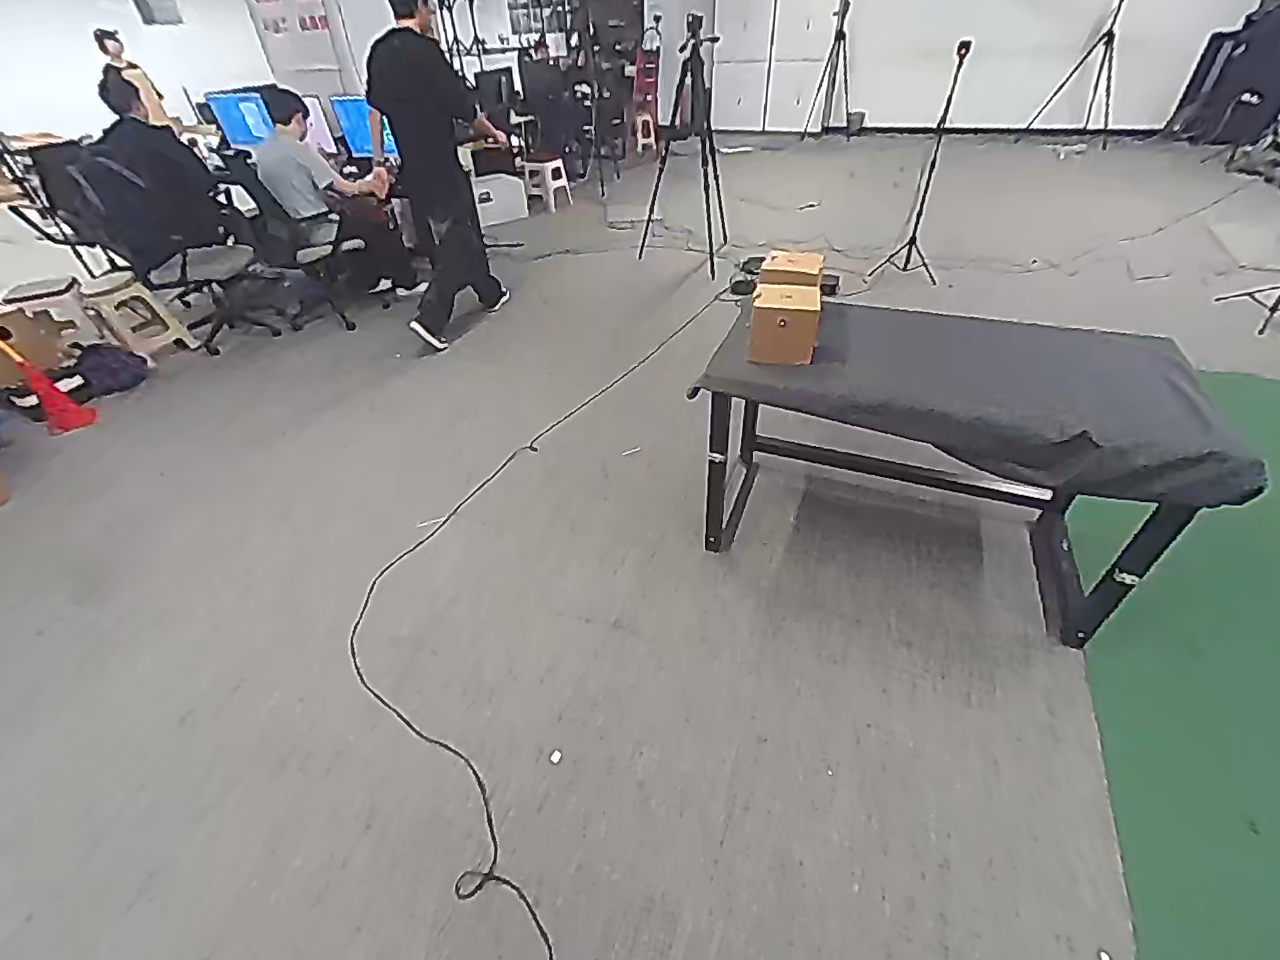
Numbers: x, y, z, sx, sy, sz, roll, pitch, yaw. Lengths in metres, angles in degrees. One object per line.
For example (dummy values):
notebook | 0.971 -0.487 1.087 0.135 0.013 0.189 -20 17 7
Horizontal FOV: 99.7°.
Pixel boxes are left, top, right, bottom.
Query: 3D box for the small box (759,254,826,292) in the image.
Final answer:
small box | 0.484 -0.609 1.742 0.179 0.176 0.168 14 43 18

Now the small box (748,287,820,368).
small box | 0.408 -0.434 1.540 0.179 0.176 0.168 8 42 10
